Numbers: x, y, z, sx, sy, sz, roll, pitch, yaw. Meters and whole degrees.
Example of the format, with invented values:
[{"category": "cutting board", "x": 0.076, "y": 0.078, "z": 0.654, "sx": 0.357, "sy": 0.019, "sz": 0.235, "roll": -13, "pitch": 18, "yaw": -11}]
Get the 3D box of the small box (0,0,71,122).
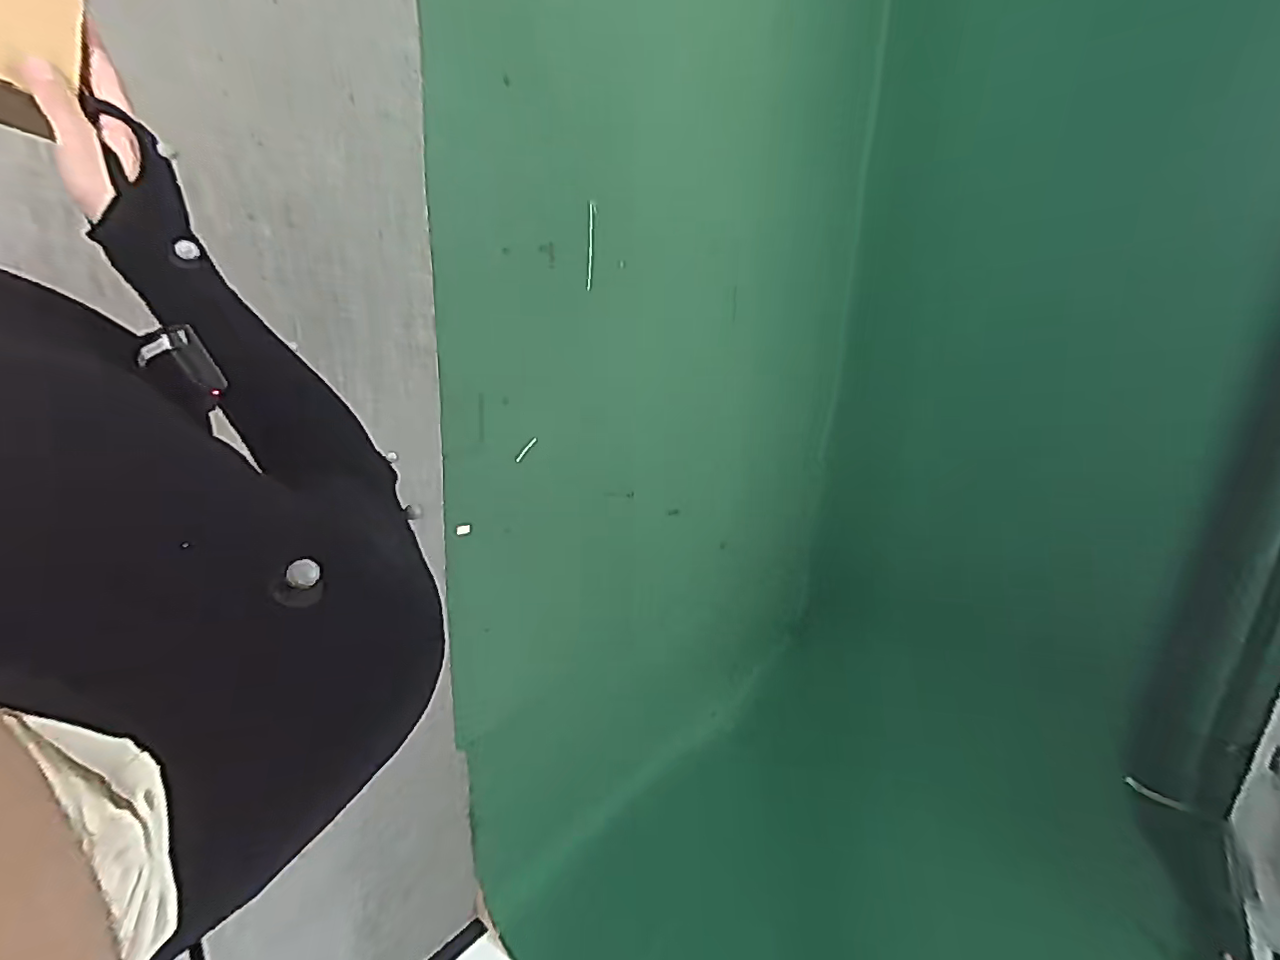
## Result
[{"category": "small box", "x": -0.519, "y": -0.389, "z": 0.373, "sx": 0.168, "sy": 0.176, "sz": 0.179, "roll": 2, "pitch": 102, "yaw": -51}]
